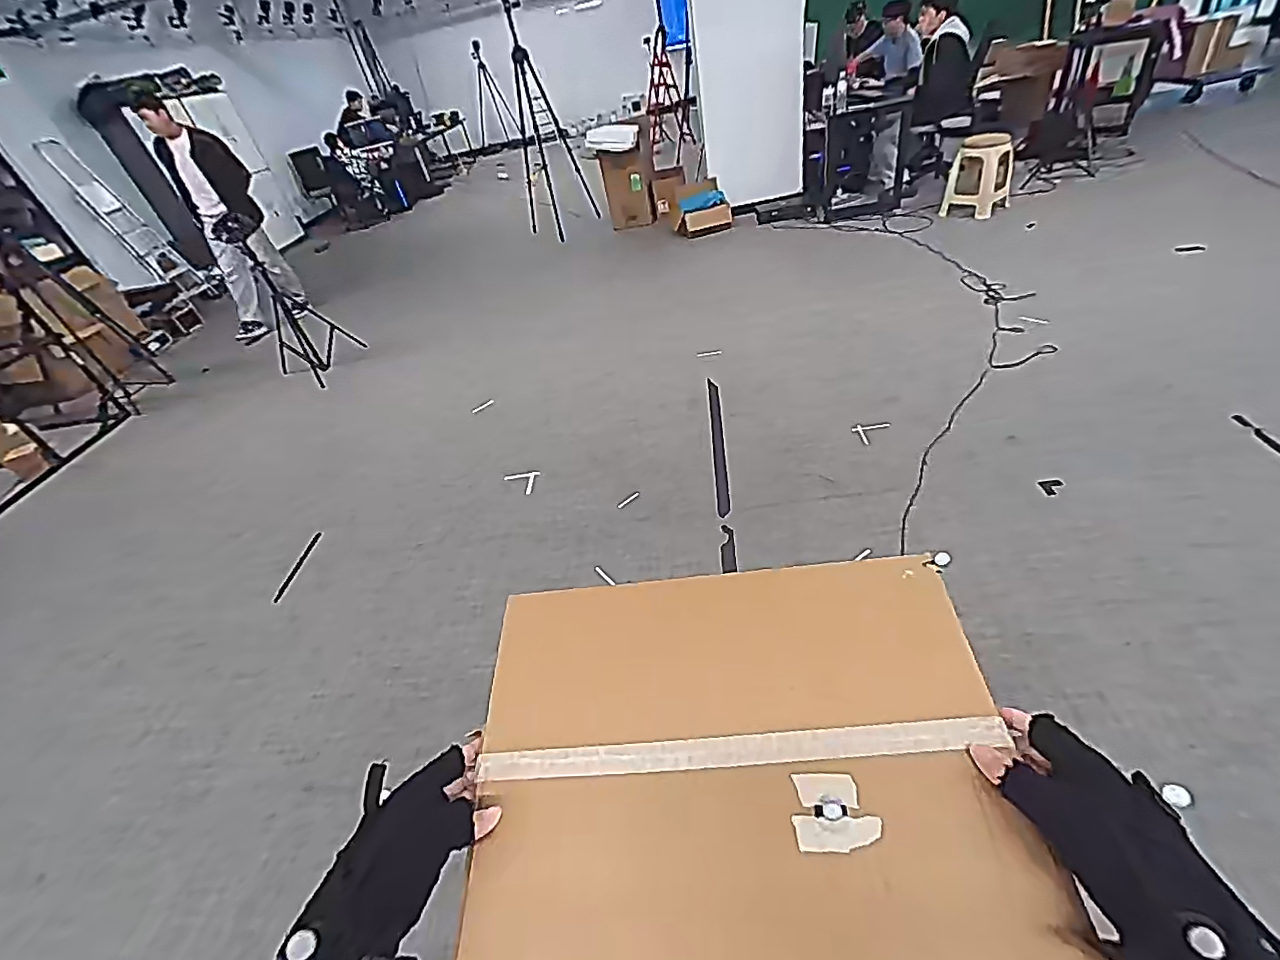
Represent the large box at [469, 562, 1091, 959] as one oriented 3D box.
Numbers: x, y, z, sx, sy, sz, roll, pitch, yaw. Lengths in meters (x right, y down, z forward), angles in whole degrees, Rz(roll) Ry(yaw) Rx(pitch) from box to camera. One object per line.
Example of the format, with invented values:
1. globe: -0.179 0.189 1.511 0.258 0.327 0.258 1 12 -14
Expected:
1. large box: 0.097 0.314 0.543 0.408 0.320 0.320 -7 49 7
